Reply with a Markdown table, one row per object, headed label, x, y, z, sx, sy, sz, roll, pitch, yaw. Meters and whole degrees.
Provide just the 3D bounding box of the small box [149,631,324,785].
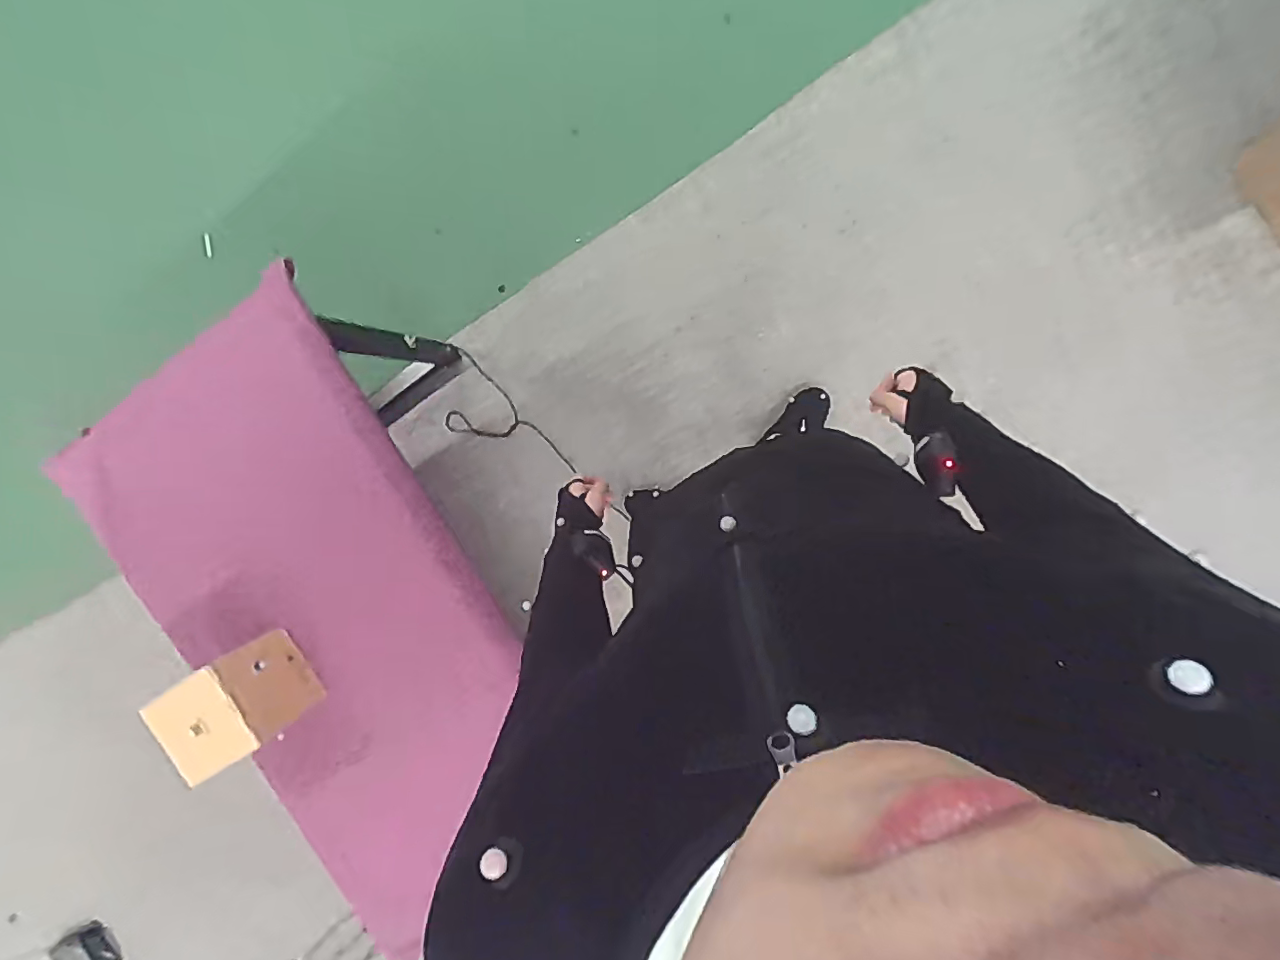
| label | x | y | z | sx | sy | sz | roll | pitch | yaw |
| --- | --- | --- | --- | --- | --- | --- | --- | --- | --- |
| small box | -0.729 | 0.411 | 1.004 | 0.179 | 0.176 | 0.168 | -32 | 92 | 12 |
